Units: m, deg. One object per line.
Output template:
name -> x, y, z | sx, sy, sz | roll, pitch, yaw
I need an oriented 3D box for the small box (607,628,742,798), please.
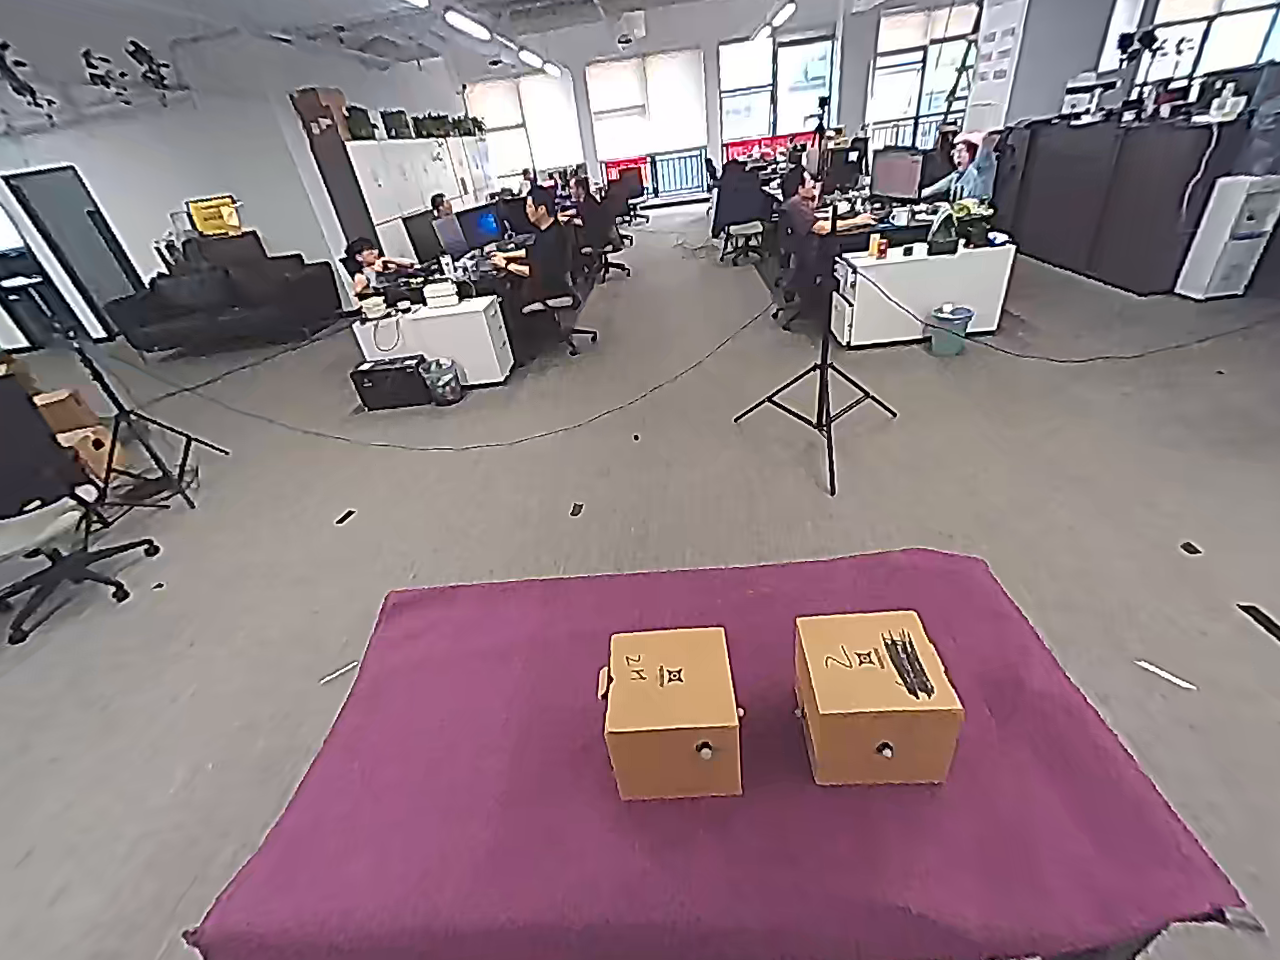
small box -> 0.054, 0.343, 0.801 | 0.179, 0.176, 0.168 | -6, 32, 4
